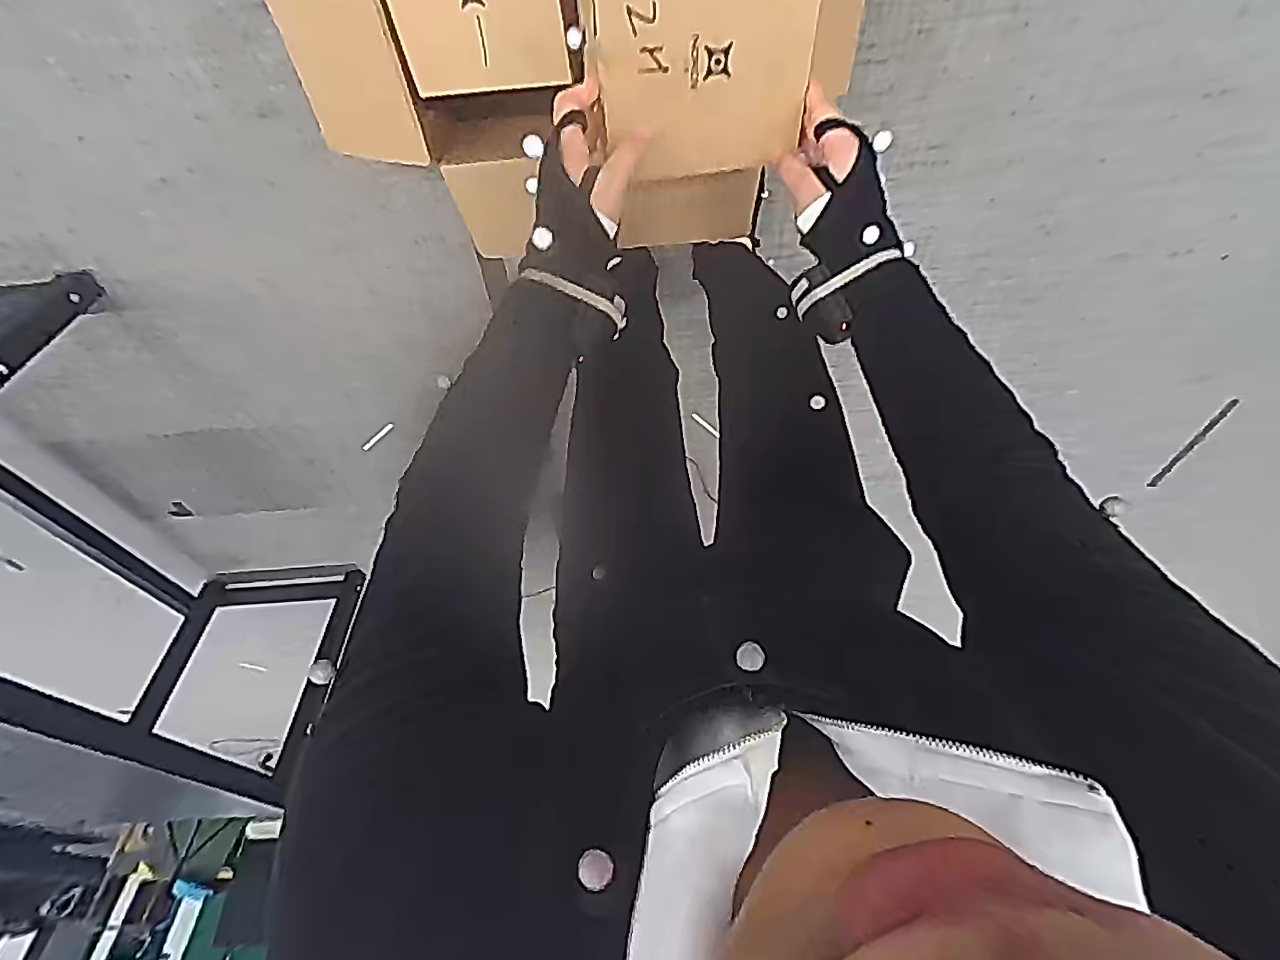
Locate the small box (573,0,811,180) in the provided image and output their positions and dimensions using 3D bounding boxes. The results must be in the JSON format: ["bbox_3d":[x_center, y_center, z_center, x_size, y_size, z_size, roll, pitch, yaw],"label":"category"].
[{"bbox_3d":[0.035,-0.397,0.482,0.179,0.176,0.168,-9,141,-3],"label":"small box"}]
